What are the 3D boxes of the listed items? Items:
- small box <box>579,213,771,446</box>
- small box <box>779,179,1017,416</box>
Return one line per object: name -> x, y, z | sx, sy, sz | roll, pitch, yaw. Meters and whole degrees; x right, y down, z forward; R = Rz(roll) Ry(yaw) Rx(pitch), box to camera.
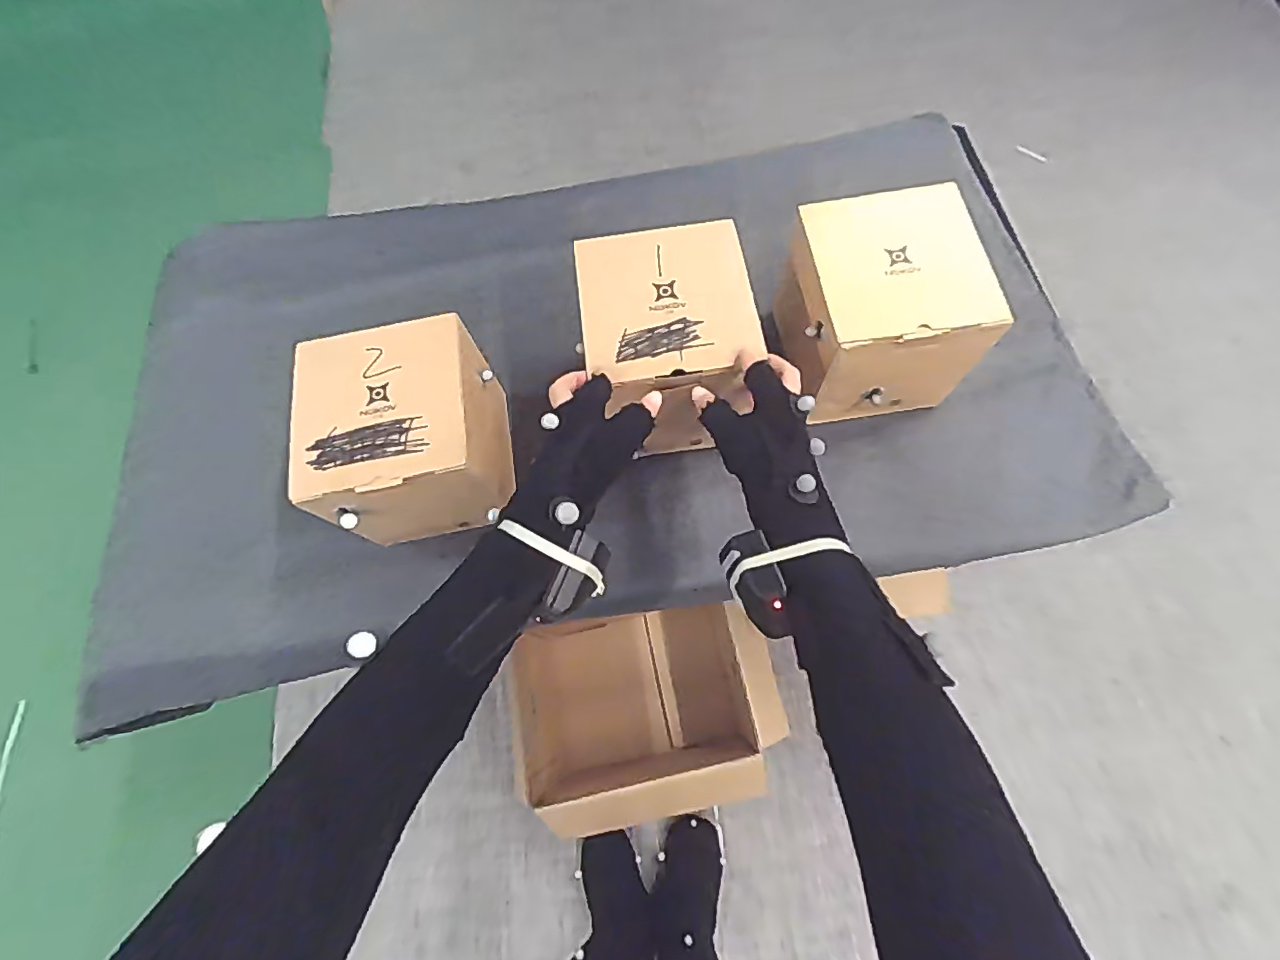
small box -> 0.034, -0.147, 0.585 | 0.168, 0.176, 0.179 | -8, 69, 0
small box -> 0.263, -0.193, 0.603 | 0.168, 0.176, 0.179 | -8, 71, 1
